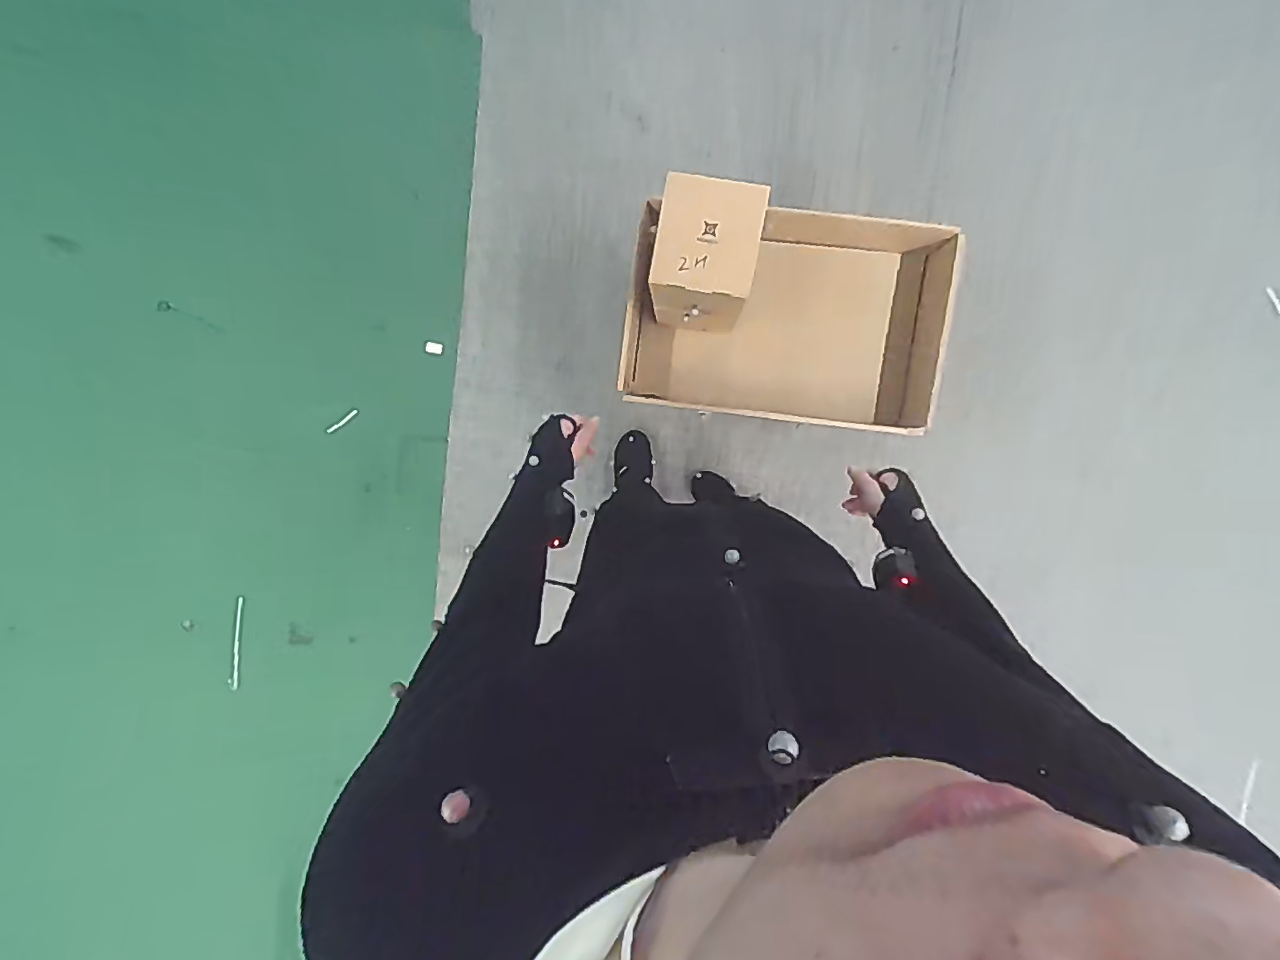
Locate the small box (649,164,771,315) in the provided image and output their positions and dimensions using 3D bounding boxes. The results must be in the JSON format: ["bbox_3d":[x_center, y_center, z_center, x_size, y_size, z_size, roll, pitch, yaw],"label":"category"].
[{"bbox_3d":[0.113,-0.402,0.929,0.168,0.176,0.179,11,96,3],"label":"small box"}]

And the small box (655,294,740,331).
[{"bbox_3d":[0.123,-0.415,1.092,0.168,0.176,0.179,9,95,3],"label":"small box"}]
